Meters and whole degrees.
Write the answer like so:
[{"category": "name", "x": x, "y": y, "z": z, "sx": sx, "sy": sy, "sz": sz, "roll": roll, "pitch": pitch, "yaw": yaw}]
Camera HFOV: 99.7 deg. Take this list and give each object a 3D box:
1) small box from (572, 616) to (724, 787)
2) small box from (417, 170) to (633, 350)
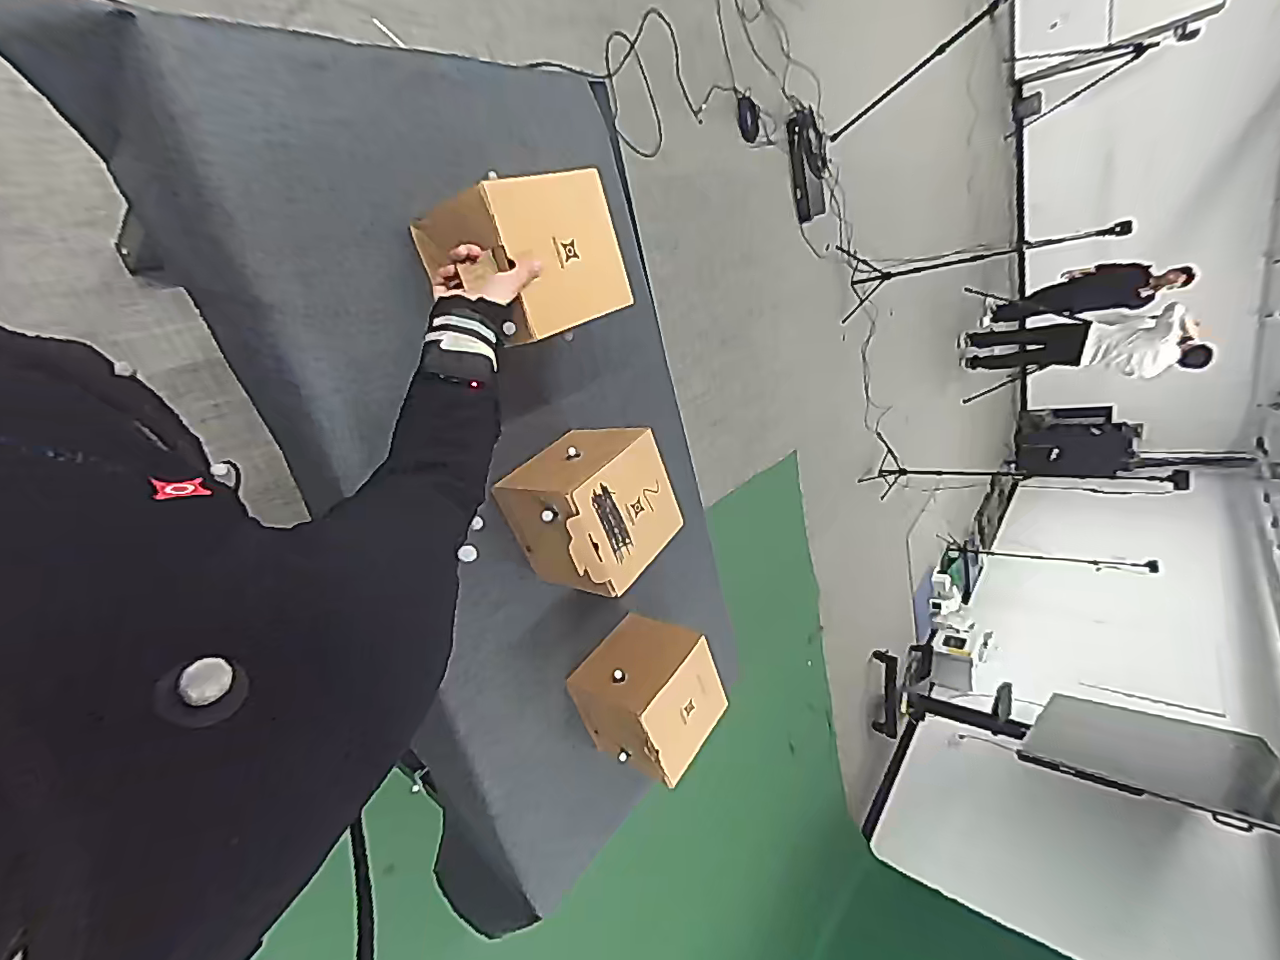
[{"category": "small box", "x": 0.009, "y": 0.354, "z": 0.896, "sx": 0.179, "sy": 0.176, "sz": 0.168, "roll": -41, "pitch": 122, "yaw": -40}, {"category": "small box", "x": -0.142, "y": -0.271, "z": 0.681, "sx": 0.179, "sy": 0.176, "sz": 0.168, "roll": -36, "pitch": 119, "yaw": -39}]
